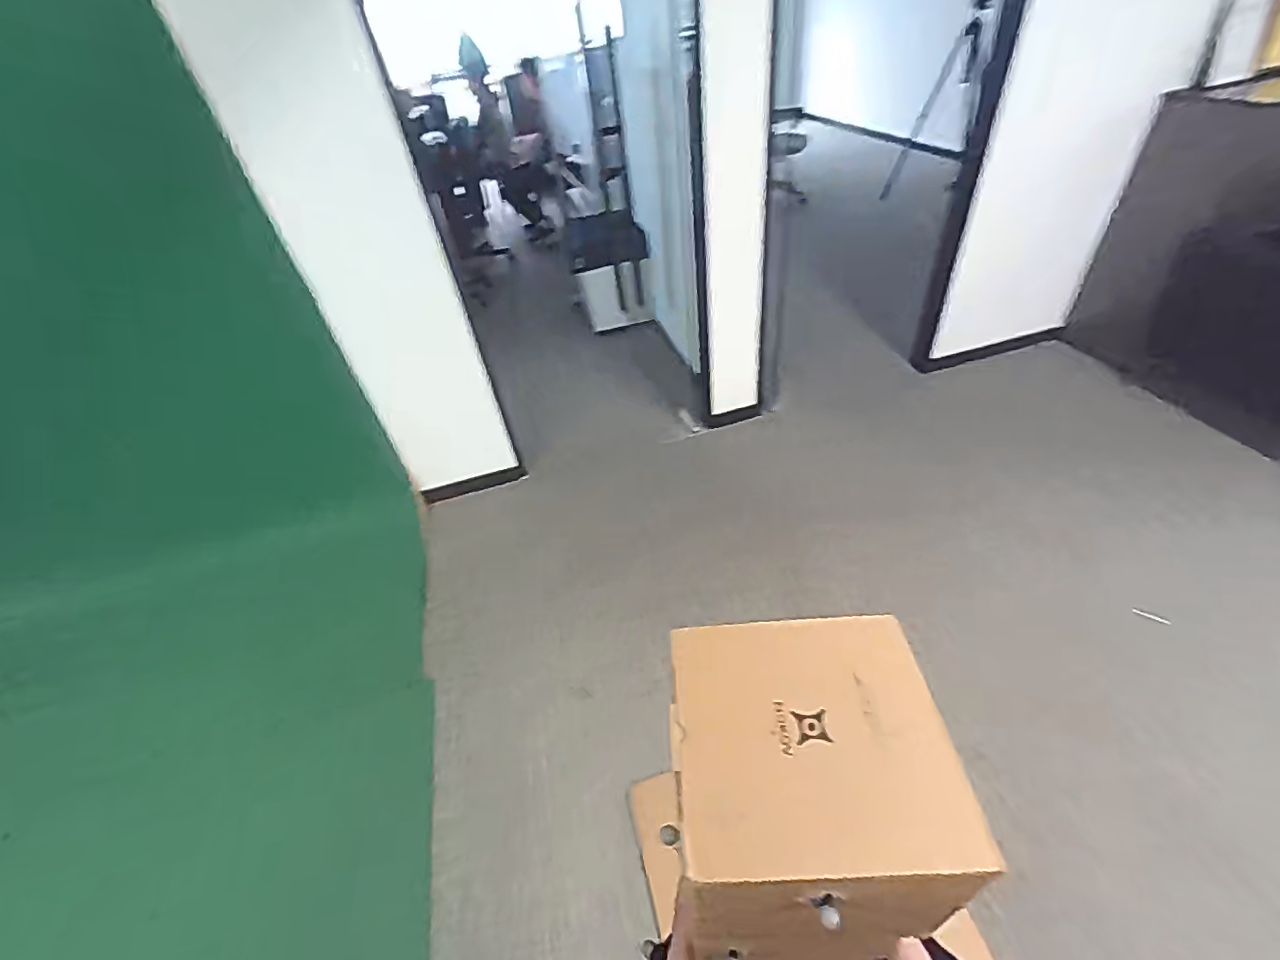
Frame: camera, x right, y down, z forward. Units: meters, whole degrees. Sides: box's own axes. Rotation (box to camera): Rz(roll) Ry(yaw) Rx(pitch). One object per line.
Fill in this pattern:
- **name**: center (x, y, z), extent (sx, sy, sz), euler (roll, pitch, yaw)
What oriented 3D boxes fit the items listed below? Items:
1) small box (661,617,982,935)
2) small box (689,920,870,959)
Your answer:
- **small box**: center (0.112, 0.224, 0.409), extent (0.179, 0.176, 0.168), euler (-4, 41, 5)
- **small box**: center (0.145, 0.460, 0.634), extent (0.179, 0.176, 0.168), euler (-5, 40, 3)
